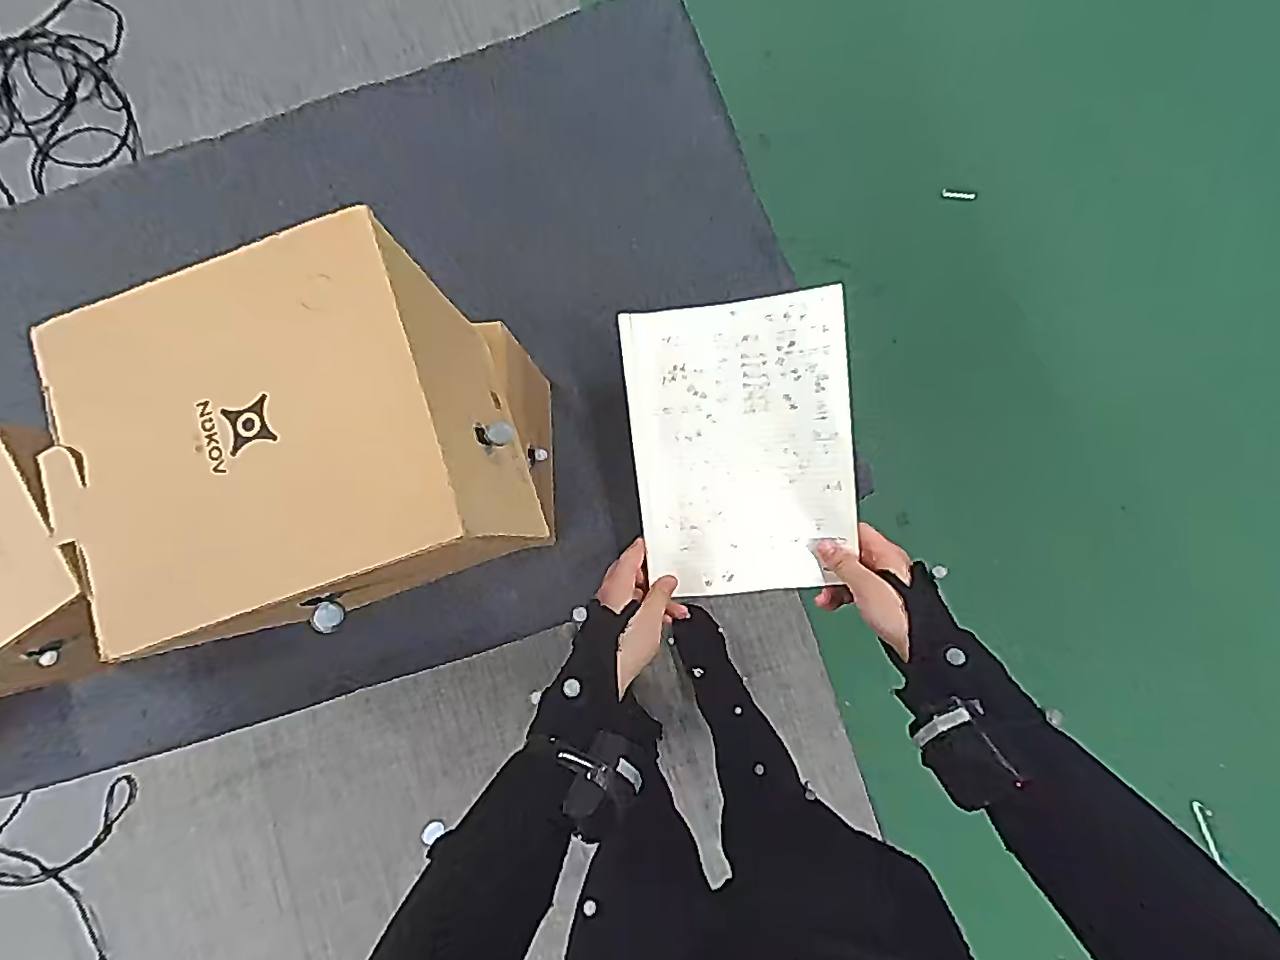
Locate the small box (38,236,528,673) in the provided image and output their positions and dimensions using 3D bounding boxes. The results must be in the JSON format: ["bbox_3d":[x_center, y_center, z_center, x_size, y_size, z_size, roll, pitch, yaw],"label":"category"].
[{"bbox_3d":[-0.182,-0.008,0.333,0.179,0.176,0.168,-20,83,1],"label":"small box"}]

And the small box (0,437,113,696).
[{"bbox_3d":[-0.540,0.086,0.510,0.179,0.176,0.168,-35,84,-1],"label":"small box"}]

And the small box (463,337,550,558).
[{"bbox_3d":[-0.182,-0.015,0.497,0.168,0.176,0.179,-3,85,4],"label":"small box"}]
